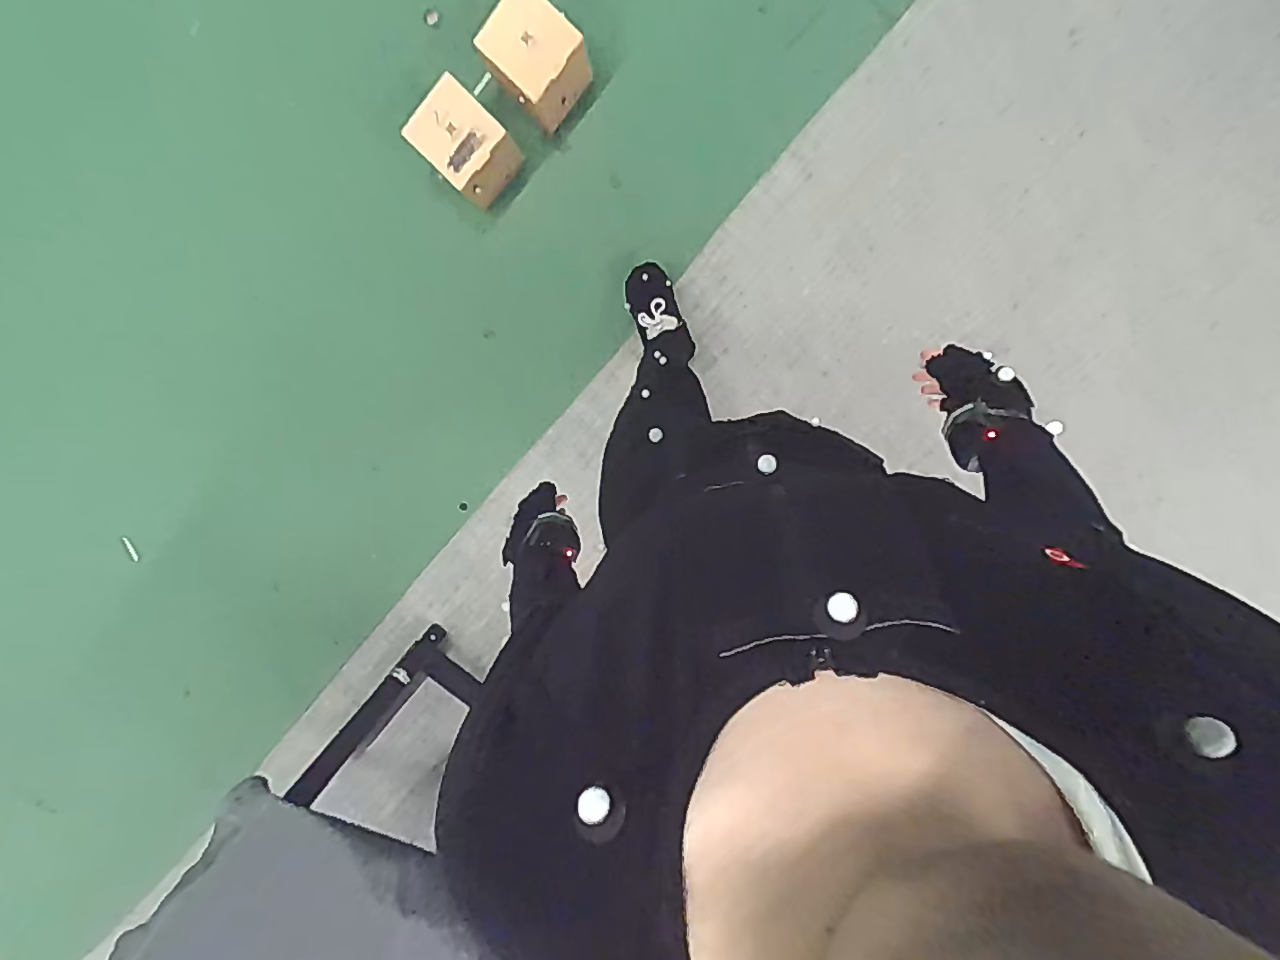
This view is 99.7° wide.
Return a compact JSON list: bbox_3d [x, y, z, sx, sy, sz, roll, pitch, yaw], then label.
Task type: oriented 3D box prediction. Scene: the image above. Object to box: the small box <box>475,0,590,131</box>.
[{"bbox_3d":[-0.234,-0.939,1.217,0.179,0.176,0.168,41,99,-7],"label":"small box"}]
